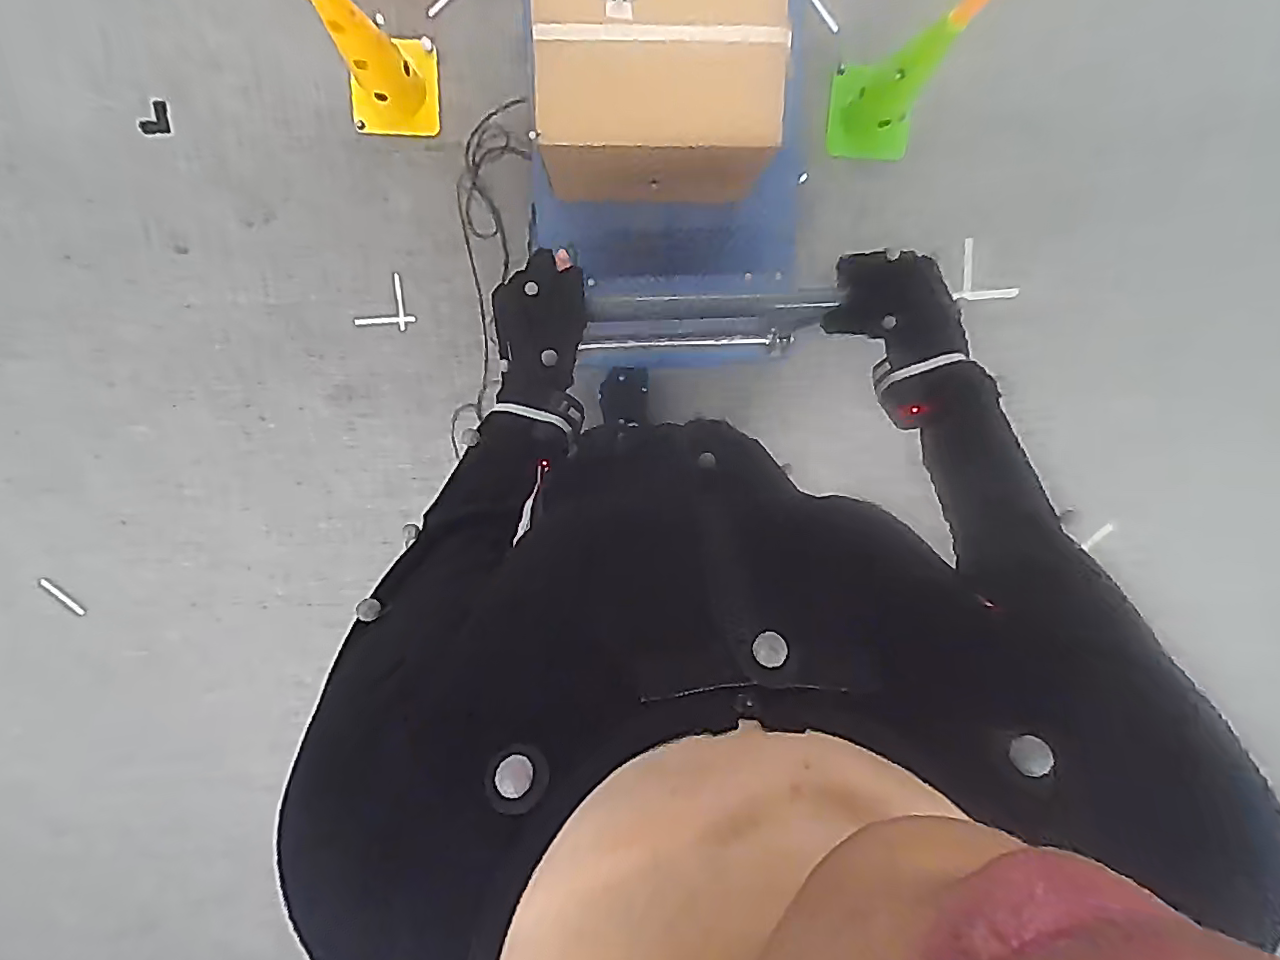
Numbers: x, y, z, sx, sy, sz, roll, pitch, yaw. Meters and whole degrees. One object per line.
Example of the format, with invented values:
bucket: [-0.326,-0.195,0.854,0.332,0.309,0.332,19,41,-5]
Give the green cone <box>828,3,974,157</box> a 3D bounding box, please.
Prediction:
green cone: [0.567,-0.863,1.143,0.202,0.368,0.200,1,101,-3]

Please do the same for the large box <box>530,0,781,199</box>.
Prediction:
large box: [0.026,-0.732,1.006,0.408,0.320,0.320,-1,102,-1]
